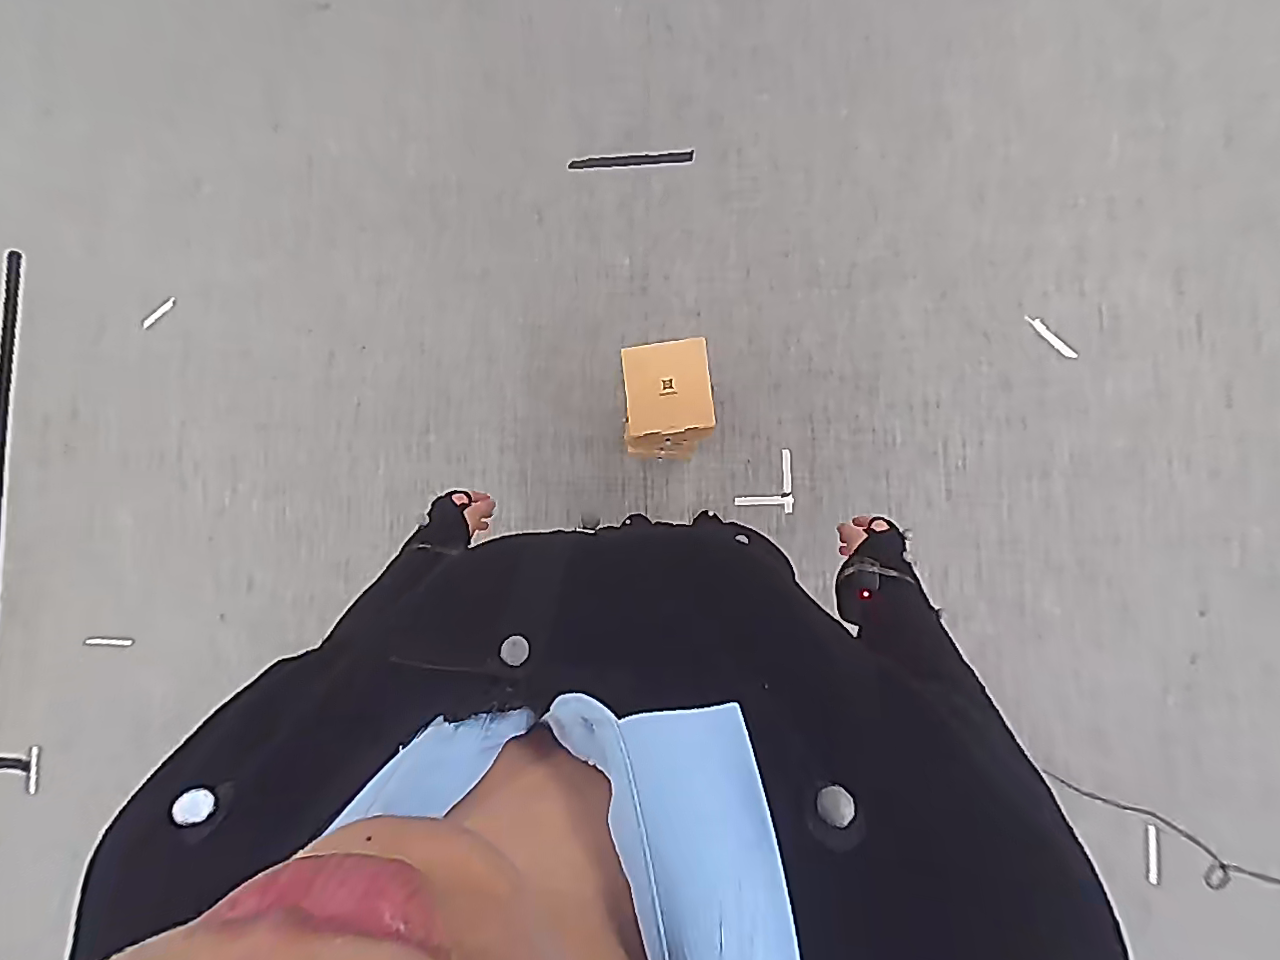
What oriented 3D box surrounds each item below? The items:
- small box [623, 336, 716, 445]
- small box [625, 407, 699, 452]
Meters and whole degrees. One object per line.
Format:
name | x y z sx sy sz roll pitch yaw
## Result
small box | 0.061 -0.176 1.107 0.168 0.176 0.179 -7 87 5
small box | 0.062 -0.167 1.270 0.168 0.176 0.179 4 88 6
